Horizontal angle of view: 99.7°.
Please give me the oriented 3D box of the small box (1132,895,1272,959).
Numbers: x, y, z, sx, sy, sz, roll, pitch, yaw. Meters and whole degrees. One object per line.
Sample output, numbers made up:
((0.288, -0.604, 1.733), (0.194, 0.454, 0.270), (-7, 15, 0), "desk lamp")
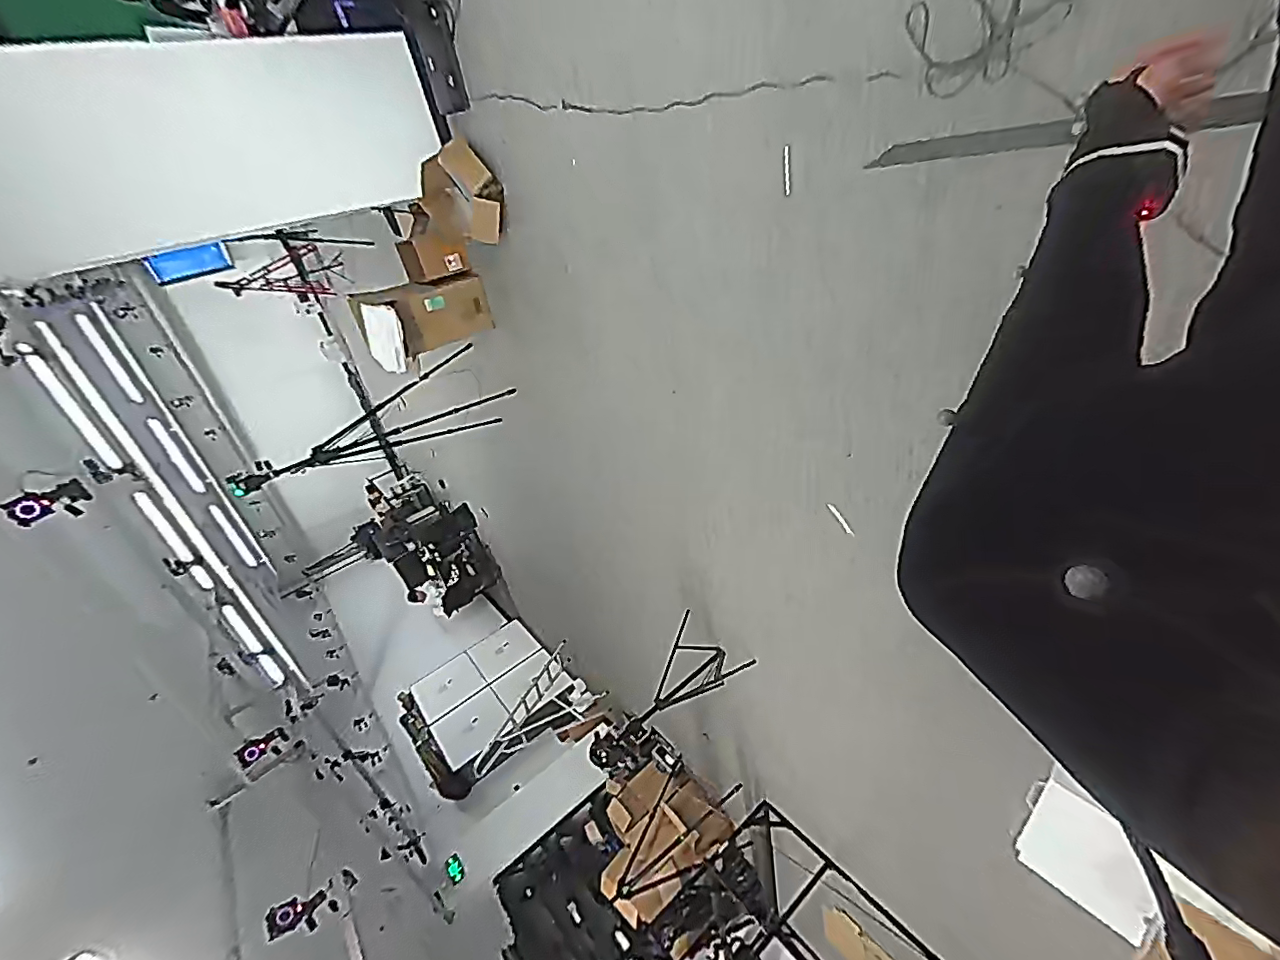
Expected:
((1.148, 1.013, 1.103), (0.179, 0.176, 0.168), (27, 138, 46), "small box")
